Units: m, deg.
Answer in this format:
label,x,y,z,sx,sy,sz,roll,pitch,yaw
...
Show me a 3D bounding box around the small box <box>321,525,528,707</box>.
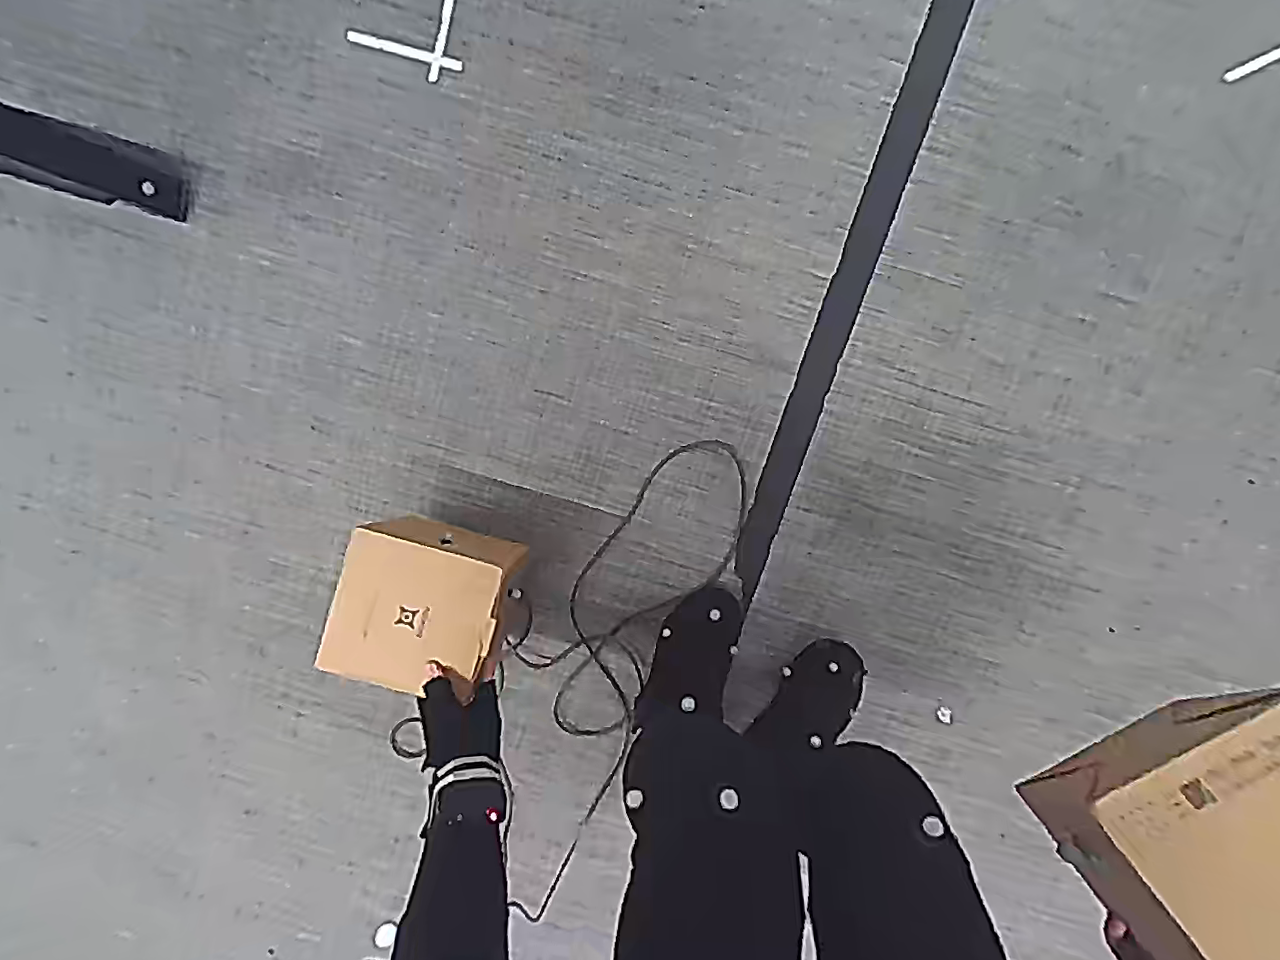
label,x,y,z,sx,sy,sz,roll,pitch,yaw
small box,-0.256,0.158,0.689,0.179,0.176,0.168,16,88,-1
